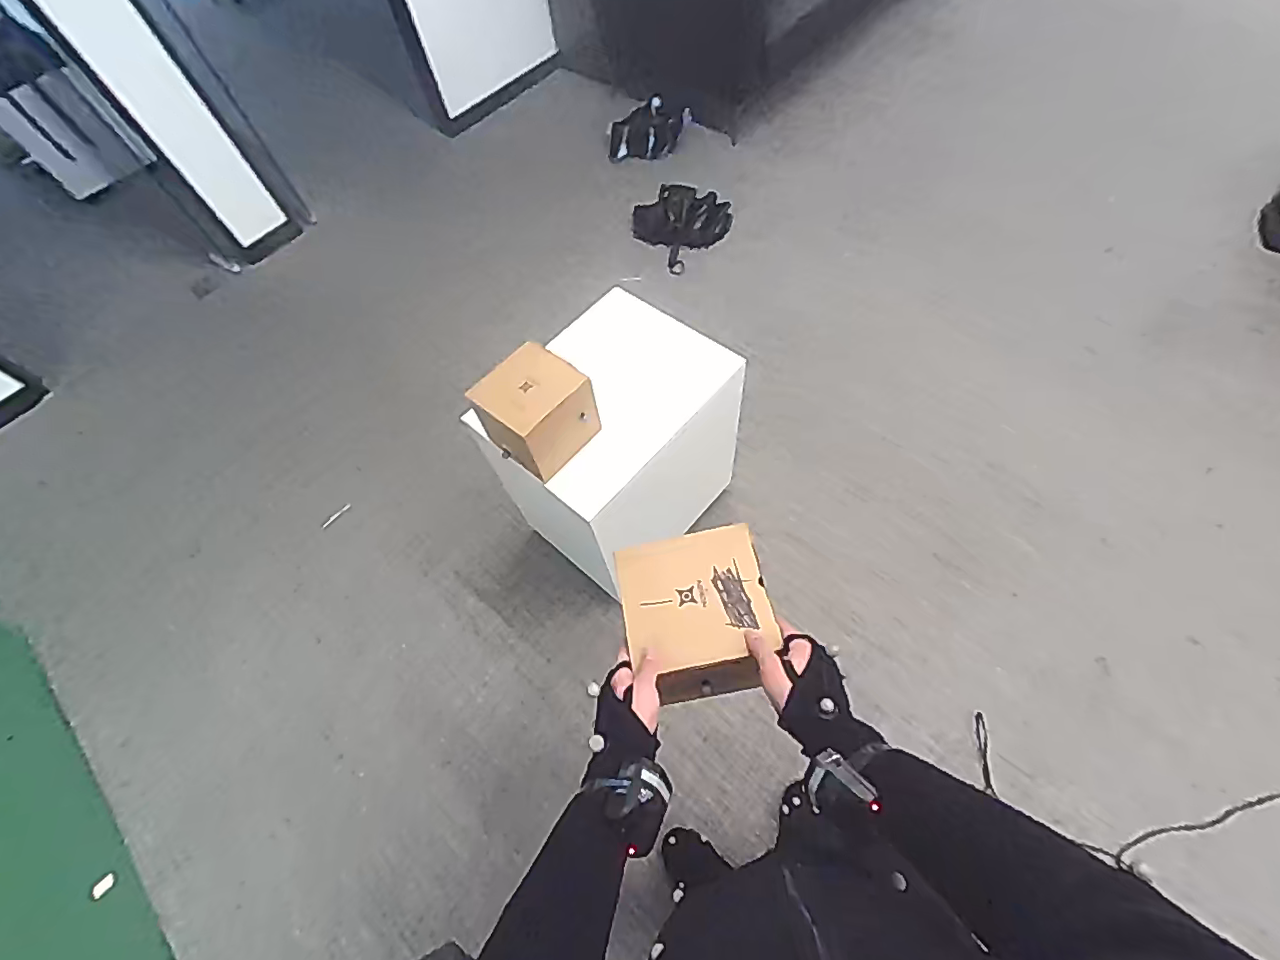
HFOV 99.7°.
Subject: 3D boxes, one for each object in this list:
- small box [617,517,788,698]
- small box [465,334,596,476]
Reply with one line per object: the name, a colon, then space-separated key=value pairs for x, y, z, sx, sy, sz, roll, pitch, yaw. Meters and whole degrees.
small box: x=0.074 y=0.169 z=0.698 sx=0.179 sy=0.176 sz=0.168 roll=-10 pitch=56 yaw=1
small box: x=-0.201 y=-0.142 z=1.054 sx=0.168 sy=0.176 sz=0.179 roll=34 pitch=68 yaw=22
